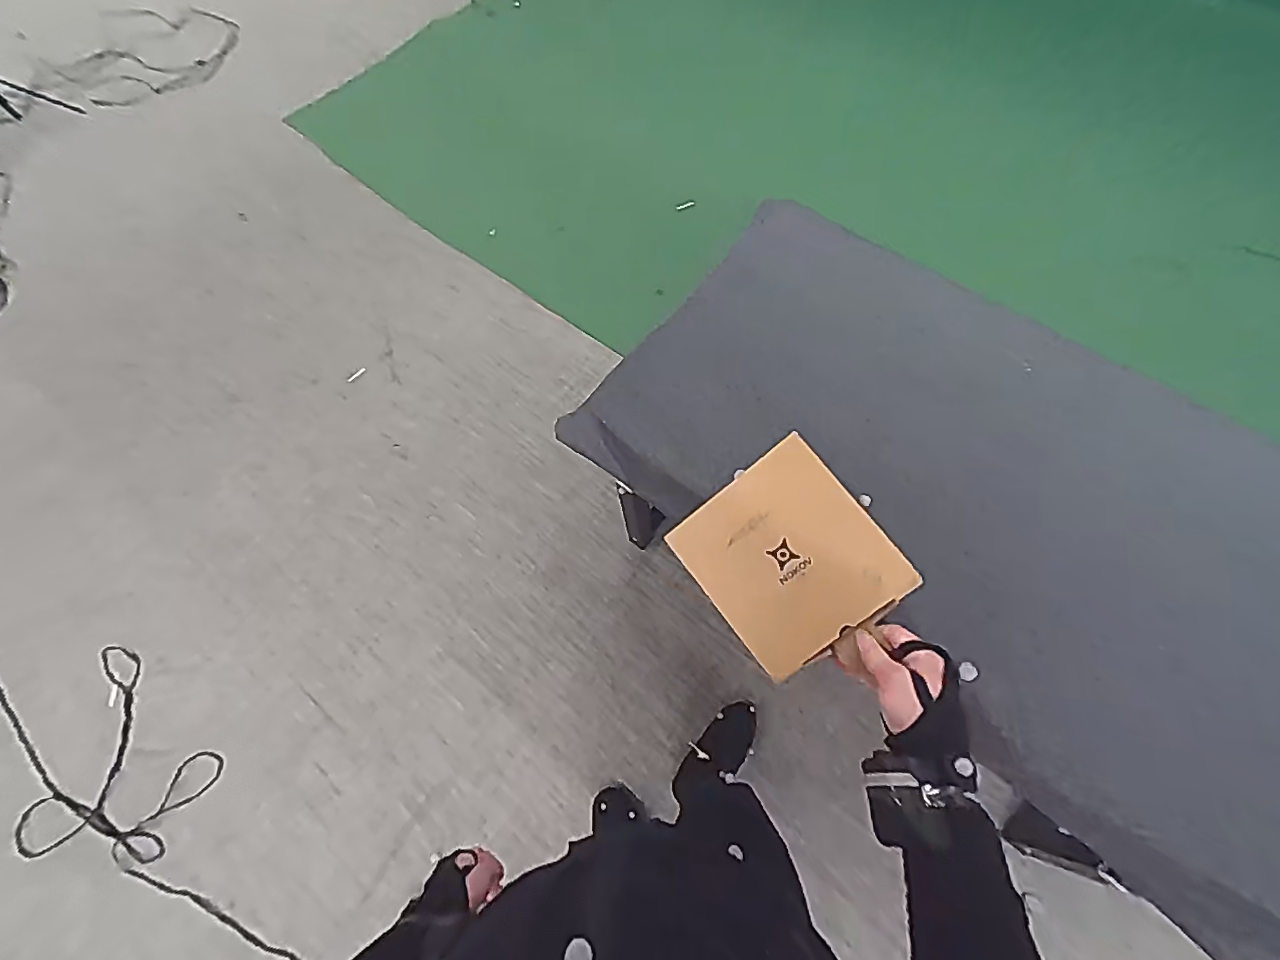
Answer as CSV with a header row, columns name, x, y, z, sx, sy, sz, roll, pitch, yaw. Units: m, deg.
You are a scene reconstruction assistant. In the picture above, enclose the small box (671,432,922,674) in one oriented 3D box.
name,x,y,z,sx,sy,sz,roll,pitch,yaw
small box,0.163,0.072,0.588,0.168,0.176,0.179,-39,77,10
